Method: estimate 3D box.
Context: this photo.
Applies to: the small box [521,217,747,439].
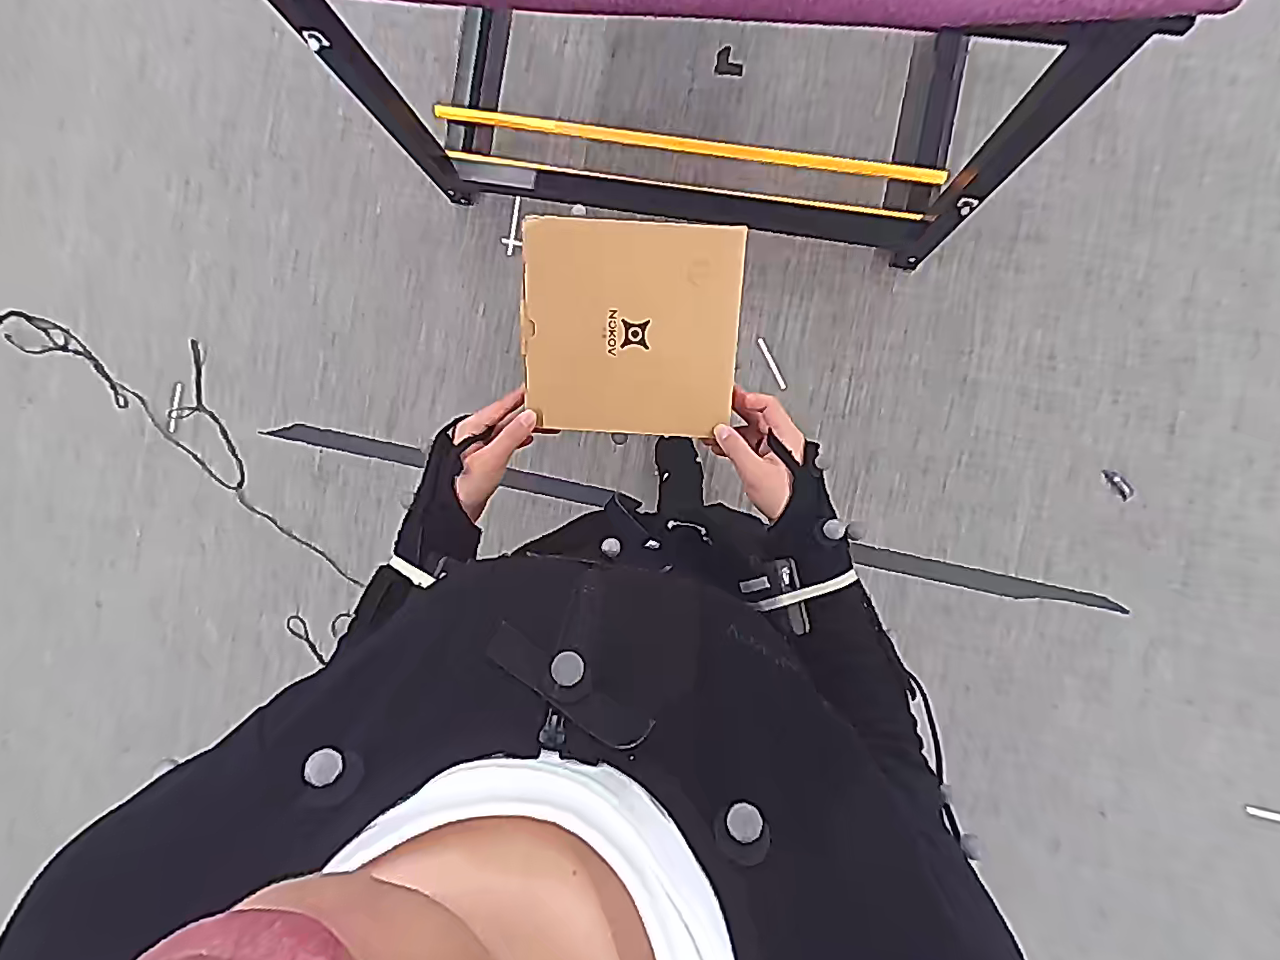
[{"bbox_3d":[-0.005,-0.139,0.507,0.179,0.176,0.168,4,105,3],"label":"small box"}]
